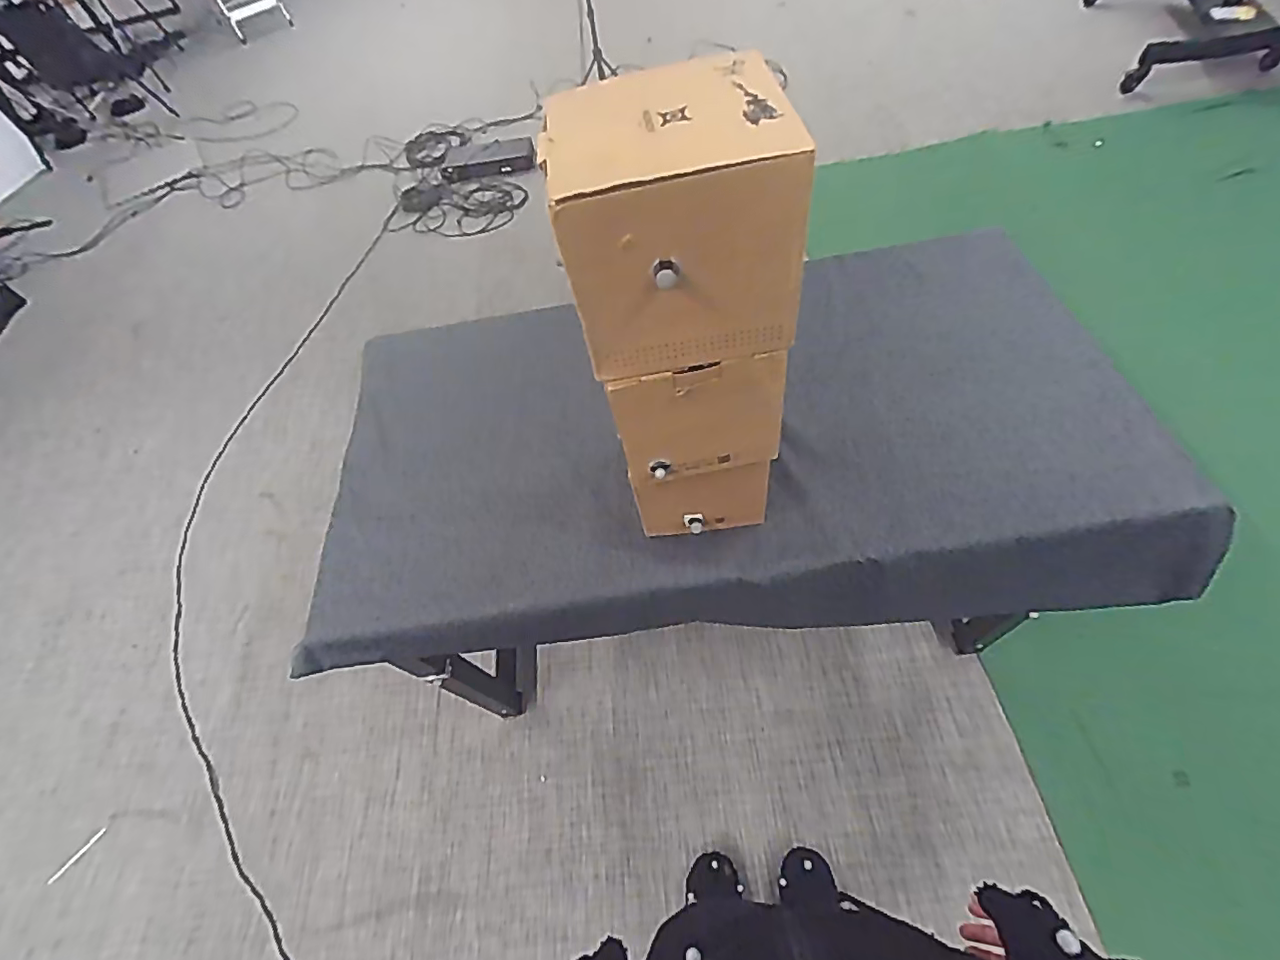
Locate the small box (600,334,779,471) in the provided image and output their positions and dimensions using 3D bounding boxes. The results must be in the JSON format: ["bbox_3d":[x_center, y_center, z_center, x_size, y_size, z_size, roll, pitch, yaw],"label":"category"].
[{"bbox_3d":[0.046,-0.127,0.597,0.168,0.176,0.179,-15,57,2],"label":"small box"}]

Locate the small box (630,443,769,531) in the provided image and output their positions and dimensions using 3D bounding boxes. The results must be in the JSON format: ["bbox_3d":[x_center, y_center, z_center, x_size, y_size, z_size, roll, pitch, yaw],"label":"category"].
[{"bbox_3d":[0.075,-0.052,0.741,0.168,0.176,0.179,-9,58,5],"label":"small box"}]

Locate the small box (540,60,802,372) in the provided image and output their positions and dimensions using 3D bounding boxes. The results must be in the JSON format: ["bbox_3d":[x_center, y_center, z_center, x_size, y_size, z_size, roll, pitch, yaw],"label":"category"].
[{"bbox_3d":[0.025,-0.216,0.465,0.179,0.176,0.168,-12,54,2],"label":"small box"}]
